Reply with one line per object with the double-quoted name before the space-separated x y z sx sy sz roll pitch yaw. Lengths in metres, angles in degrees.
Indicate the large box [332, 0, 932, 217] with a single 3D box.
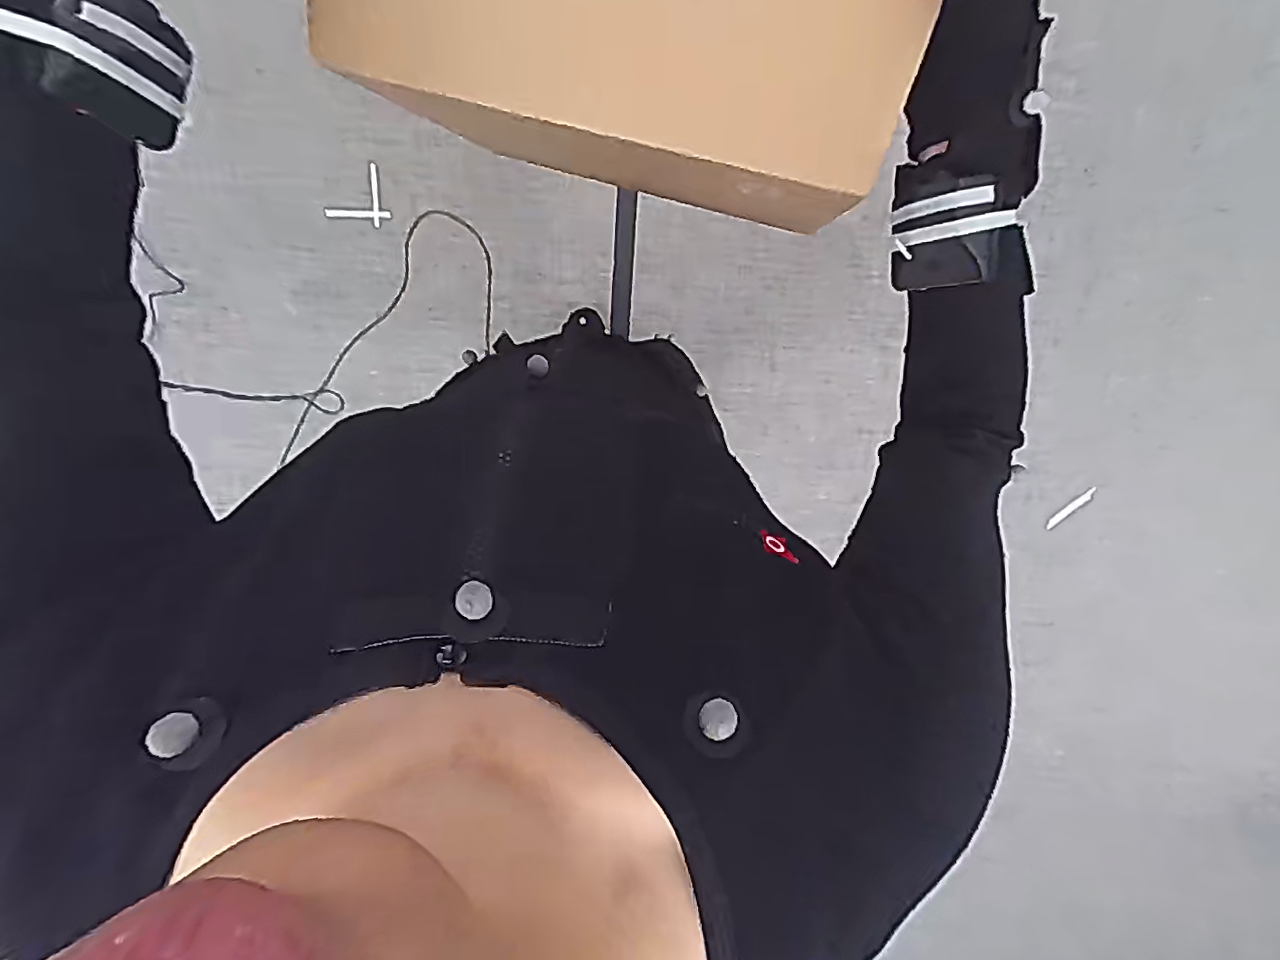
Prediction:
"large box" 0.022 -0.445 0.461 0.408 0.320 0.320 16 113 4
